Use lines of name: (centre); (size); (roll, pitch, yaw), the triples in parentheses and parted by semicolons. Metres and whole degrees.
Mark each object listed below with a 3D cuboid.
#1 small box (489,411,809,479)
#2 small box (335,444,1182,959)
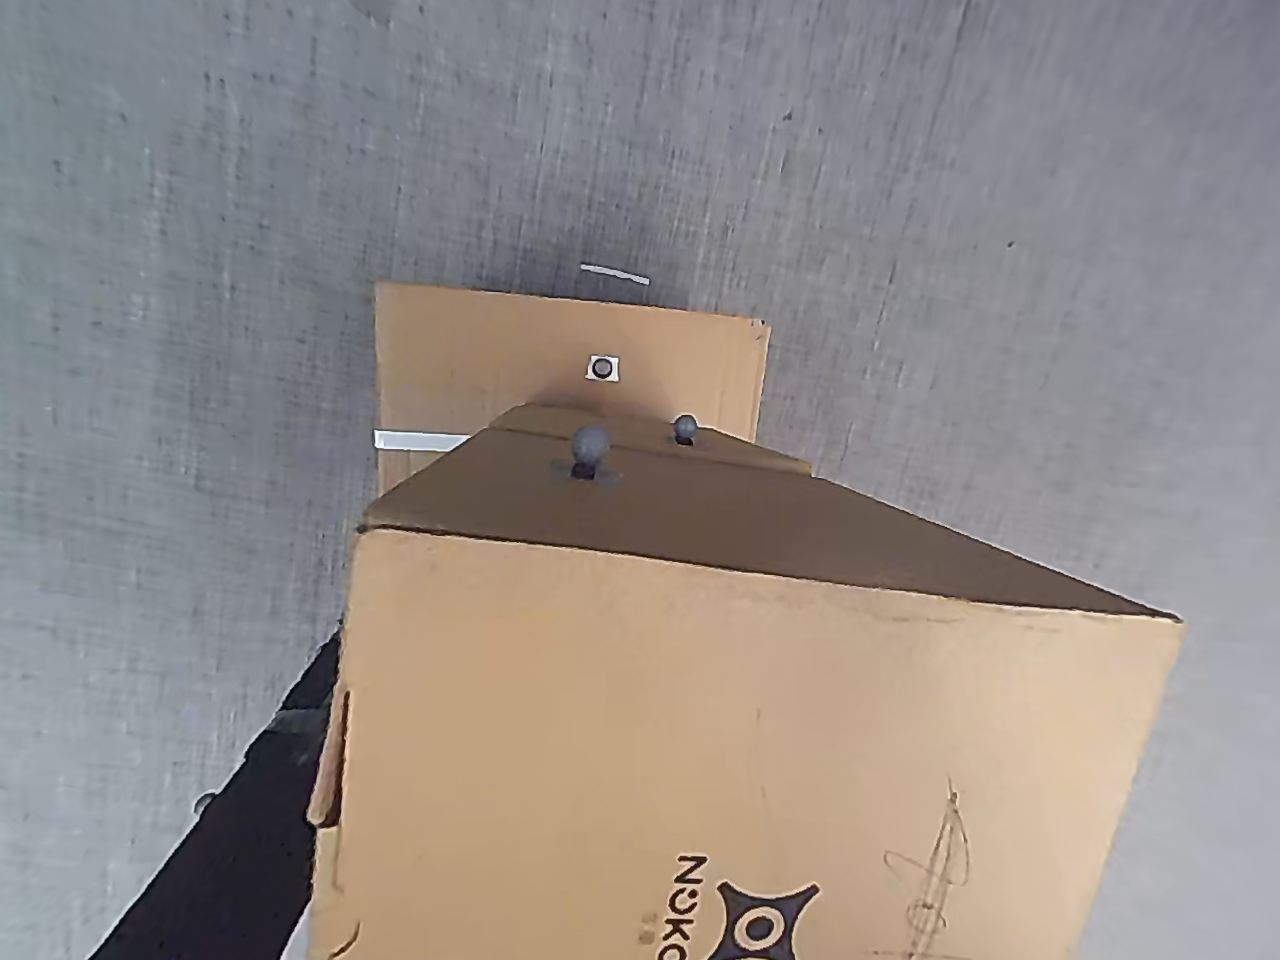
small box: (-0.011, 0.056, 0.357); (0.168, 0.176, 0.179); (6, 100, -9)
small box: (0.014, 0.083, 0.198); (0.179, 0.176, 0.168); (7, 100, -10)
